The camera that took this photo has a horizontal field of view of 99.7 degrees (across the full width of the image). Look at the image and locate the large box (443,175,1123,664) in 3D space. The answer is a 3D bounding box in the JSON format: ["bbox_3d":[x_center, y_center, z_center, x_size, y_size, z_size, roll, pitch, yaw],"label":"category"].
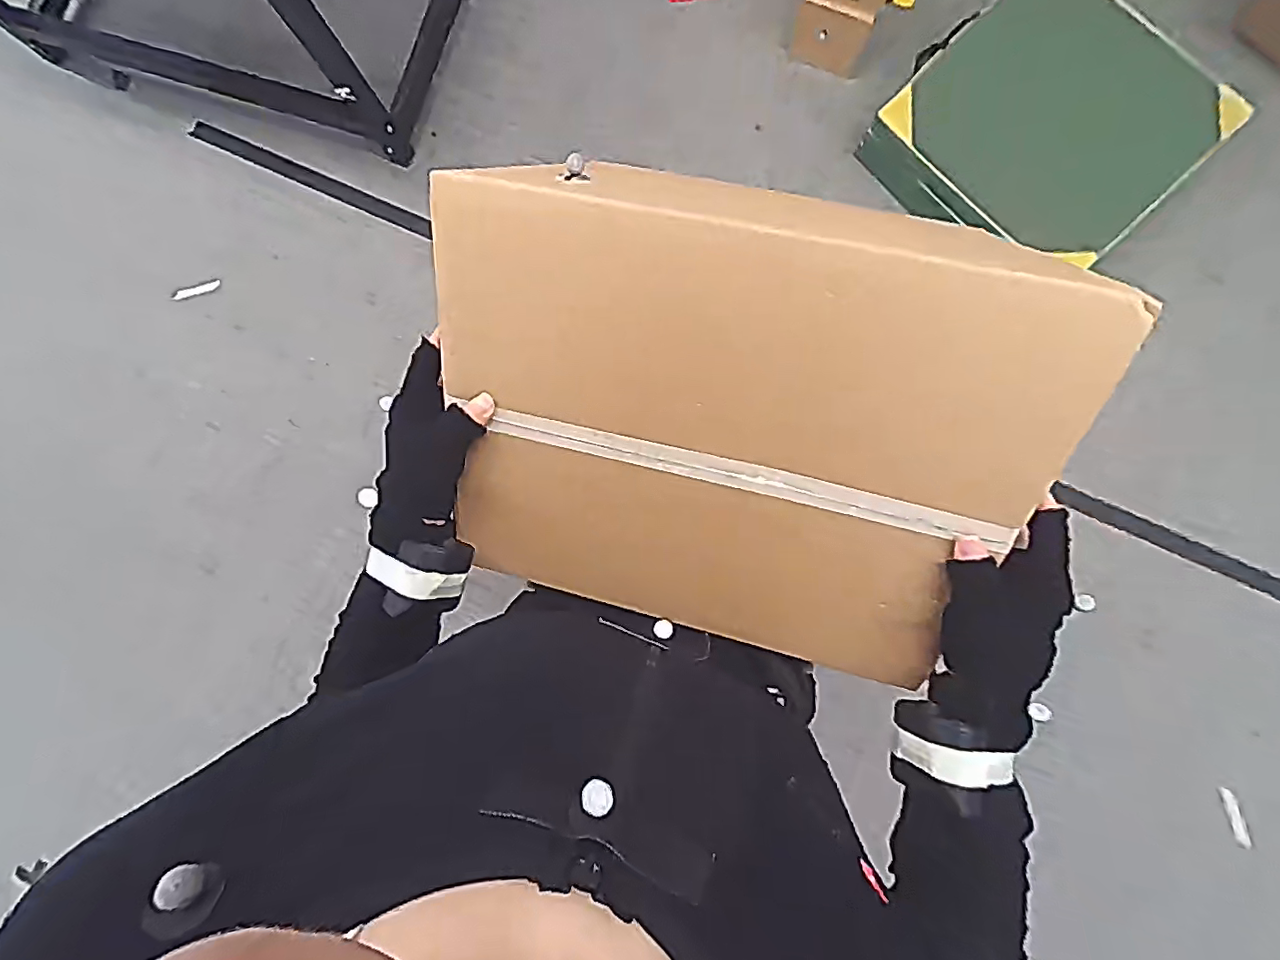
[{"bbox_3d":[0.082,-0.092,0.516,0.408,0.320,0.320,14,124,8],"label":"large box"}]
